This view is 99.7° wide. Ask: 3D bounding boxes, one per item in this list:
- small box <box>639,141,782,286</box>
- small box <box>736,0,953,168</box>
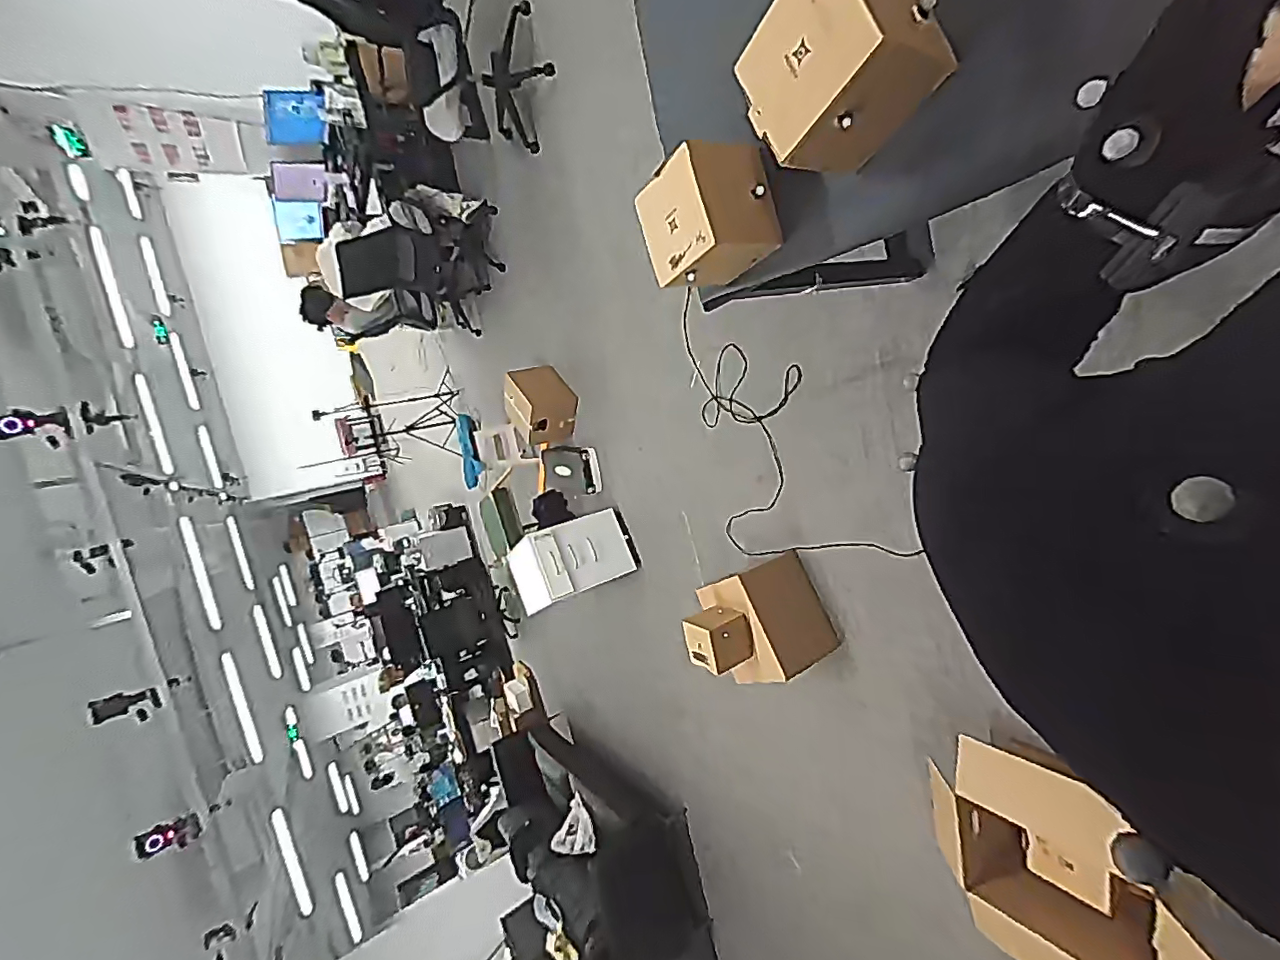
[{"bbox_3d":[0.127,-0.470,0.978,0.168,0.176,0.179,-16,90,59],"label":"small box"},{"bbox_3d":[0.267,-0.548,0.721,0.179,0.176,0.168,-36,73,56],"label":"small box"}]
